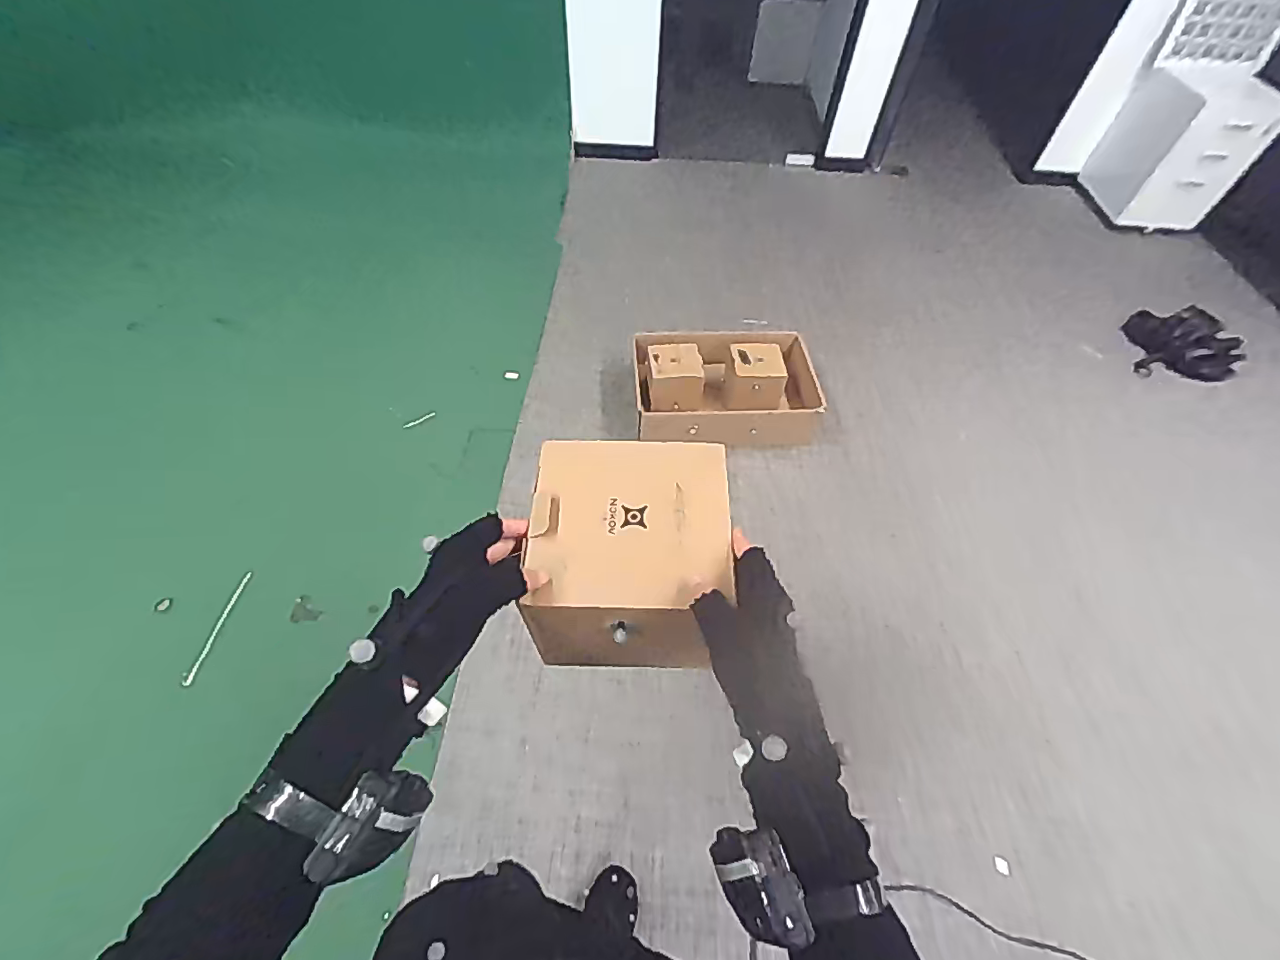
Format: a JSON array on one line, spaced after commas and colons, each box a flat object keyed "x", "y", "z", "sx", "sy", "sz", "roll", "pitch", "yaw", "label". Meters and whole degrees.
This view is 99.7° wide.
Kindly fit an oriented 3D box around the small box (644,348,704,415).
[{"x": 0.114, "y": -0.343, "z": 1.885, "sx": 0.179, "sy": 0.176, "sz": 0.168, "roll": -3, "pitch": 53, "yaw": -7, "label": "small box"}]

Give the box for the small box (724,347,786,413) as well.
[{"x": 0.395, "y": -0.351, "z": 1.904, "sx": 0.179, "sy": 0.176, "sz": 0.168, "roll": 0, "pitch": 54, "yaw": -3, "label": "small box"}]
